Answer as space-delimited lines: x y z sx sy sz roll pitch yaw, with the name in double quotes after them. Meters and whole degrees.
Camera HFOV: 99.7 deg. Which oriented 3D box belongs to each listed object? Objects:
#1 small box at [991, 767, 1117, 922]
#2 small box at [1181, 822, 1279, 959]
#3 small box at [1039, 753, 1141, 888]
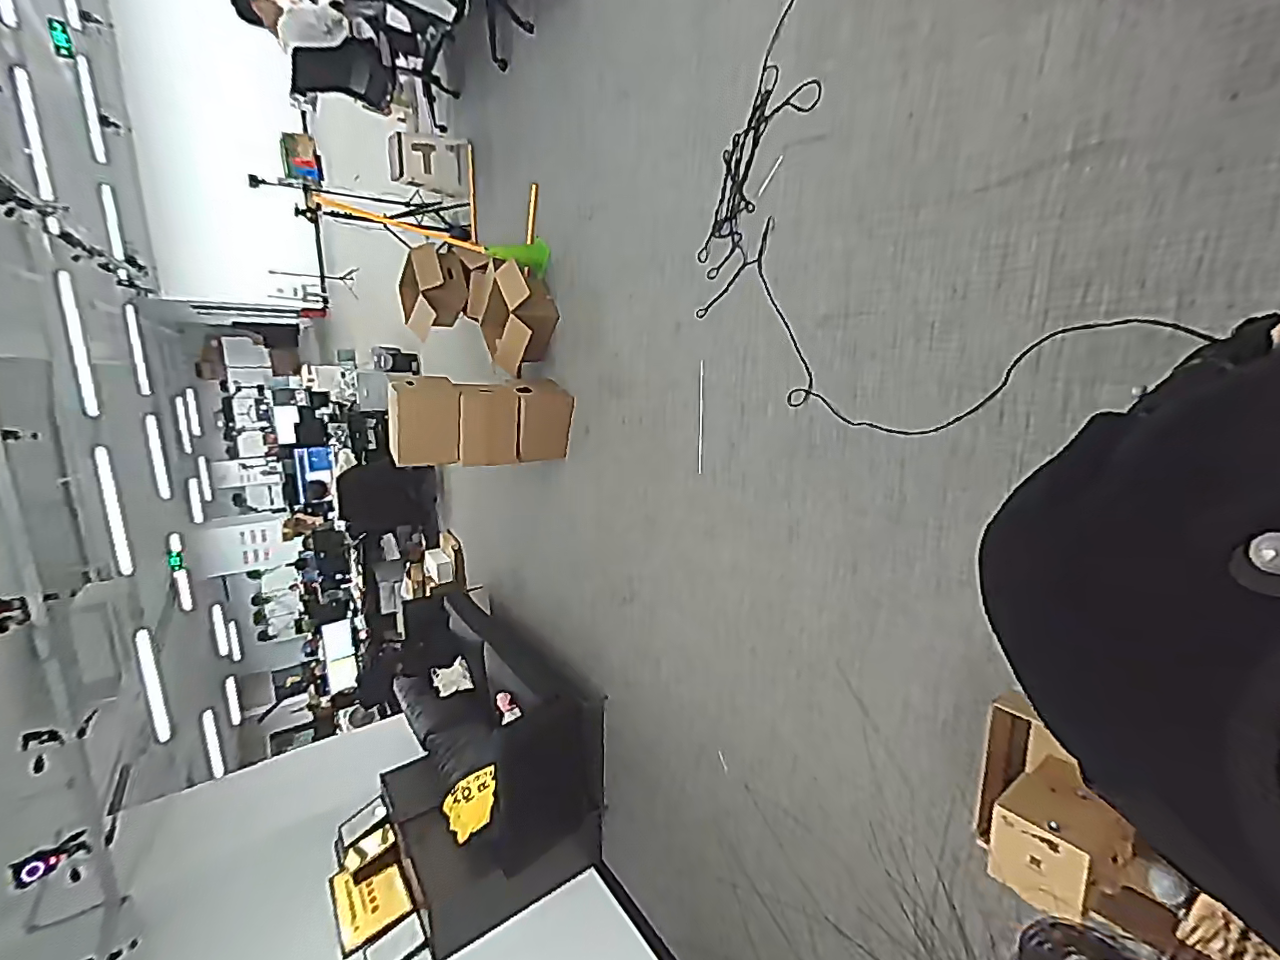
0.877 0.757 1.145 0.168 0.176 0.179 12 107 53 "small box"
1.171 0.795 1.019 0.179 0.176 0.168 10 104 55 "small box"
1.013 0.762 1.238 0.179 0.176 0.168 5 101 54 "small box"
